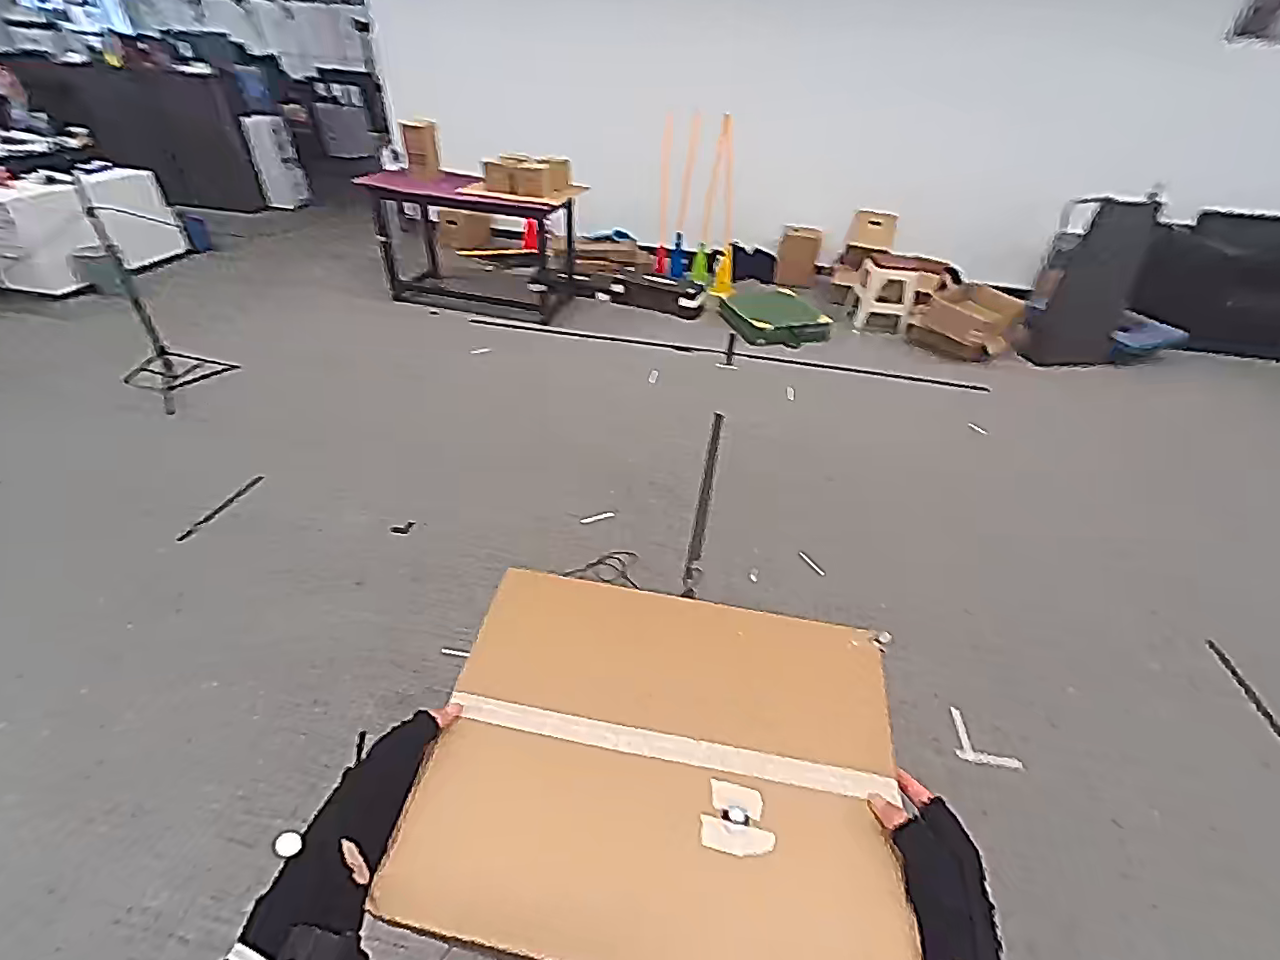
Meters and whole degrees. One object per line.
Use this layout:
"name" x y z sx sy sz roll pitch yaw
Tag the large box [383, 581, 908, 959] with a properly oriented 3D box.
"large box" 0.016 0.352 0.601 0.408 0.320 0.320 9 47 6
